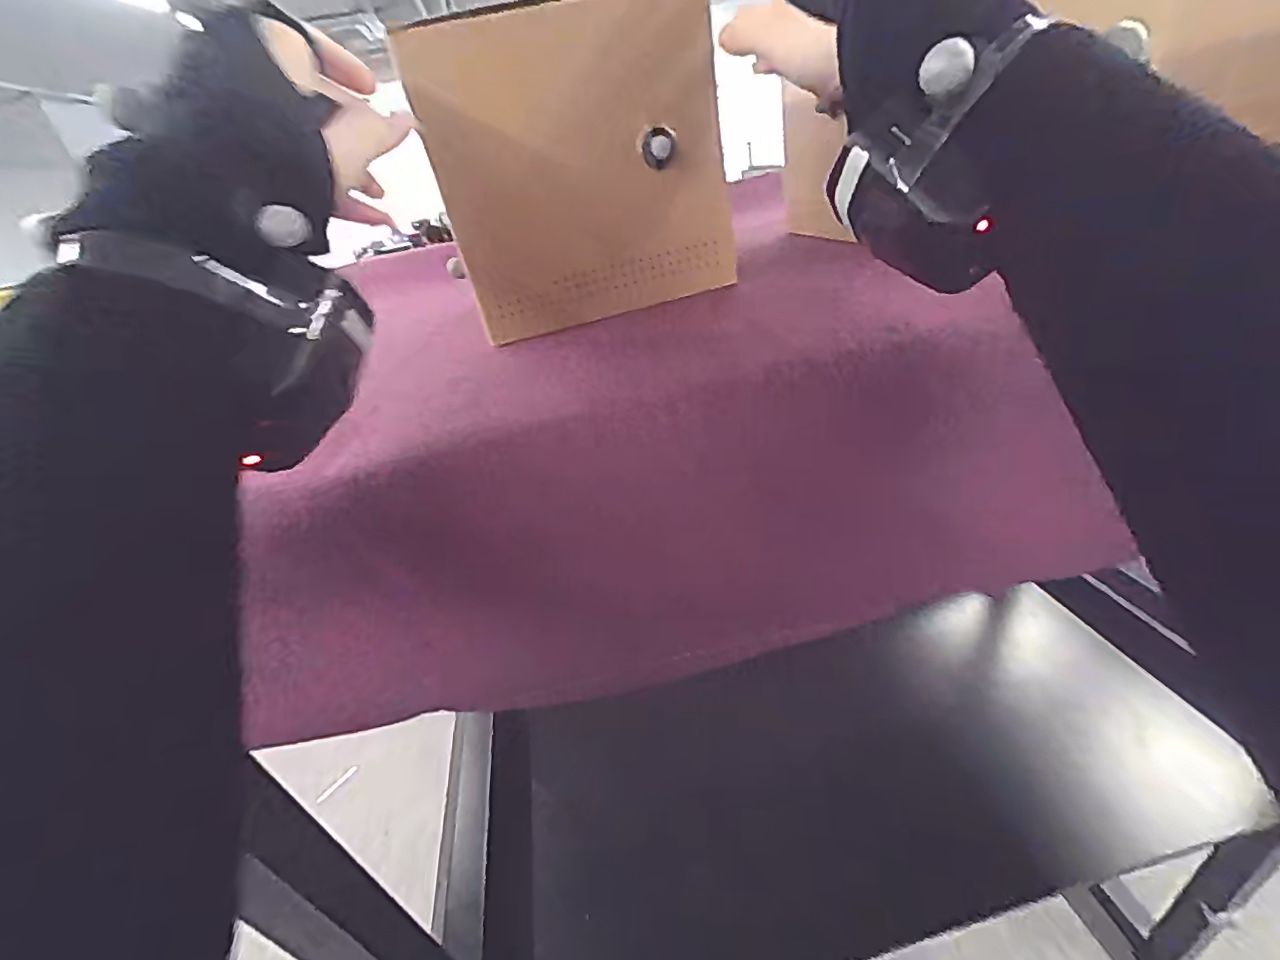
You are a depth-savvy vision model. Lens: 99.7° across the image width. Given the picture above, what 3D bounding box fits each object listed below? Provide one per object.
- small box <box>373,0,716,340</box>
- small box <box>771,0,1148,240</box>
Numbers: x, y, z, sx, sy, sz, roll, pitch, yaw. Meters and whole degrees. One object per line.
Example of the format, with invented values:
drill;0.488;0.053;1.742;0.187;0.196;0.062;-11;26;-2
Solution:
small box;-0.054;-0.216;0.383;0.179;0.176;0.168;-17;31;-7
small box;0.212;-0.279;0.385;0.168;0.176;0.179;-17;31;-8
